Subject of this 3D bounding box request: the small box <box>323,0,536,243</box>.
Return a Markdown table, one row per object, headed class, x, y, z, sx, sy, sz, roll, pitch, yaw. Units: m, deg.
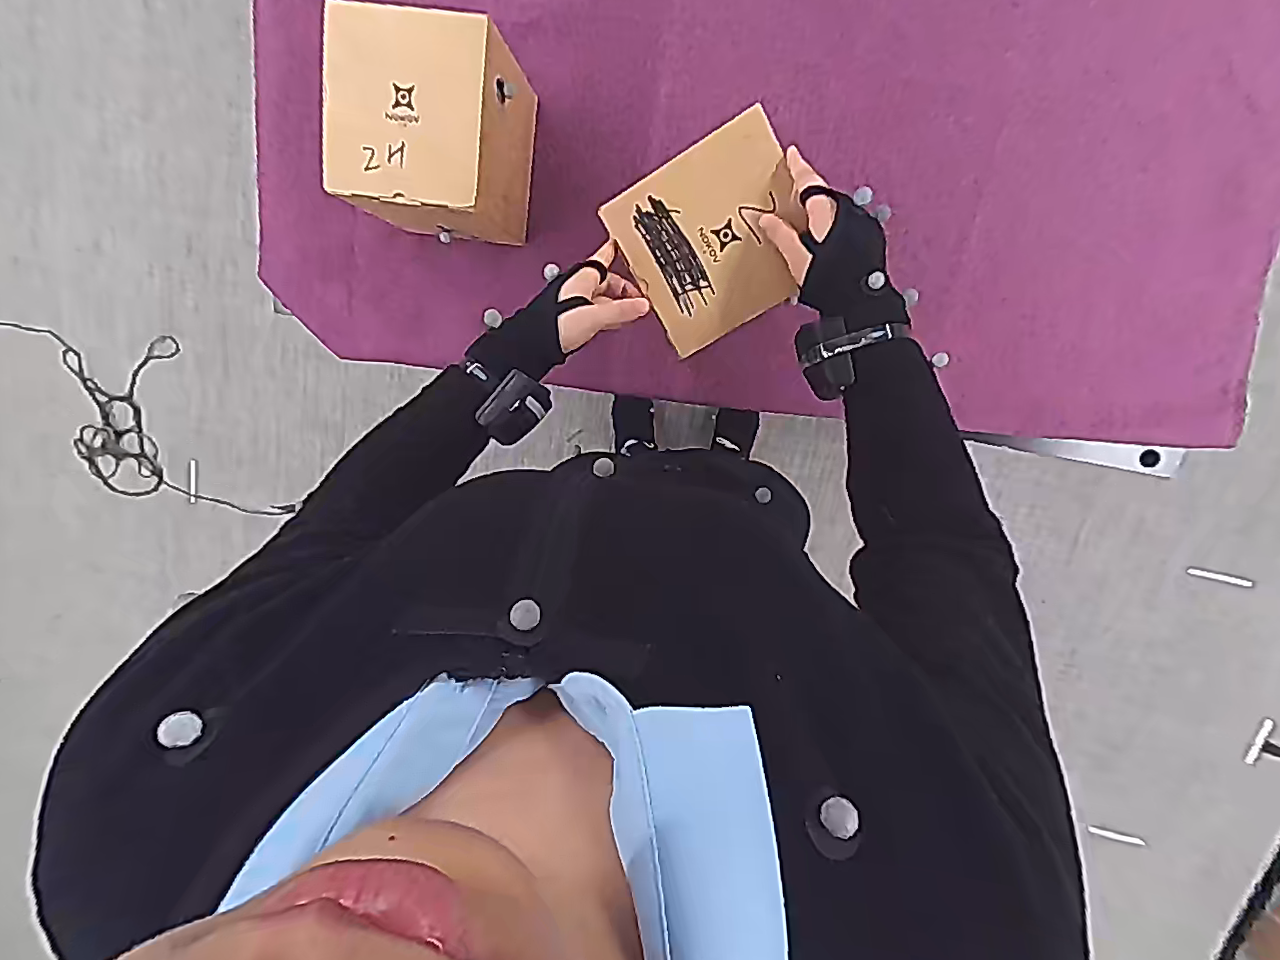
| class | x | y | z | sx | sy | sz | roll | pitch | yaw |
| --- | --- | --- | --- | --- | --- | --- | --- | --- | --- |
| small box | -0.222 | -0.384 | 0.604 | 0.168 | 0.176 | 0.179 | 9 | 103 | 4 |
